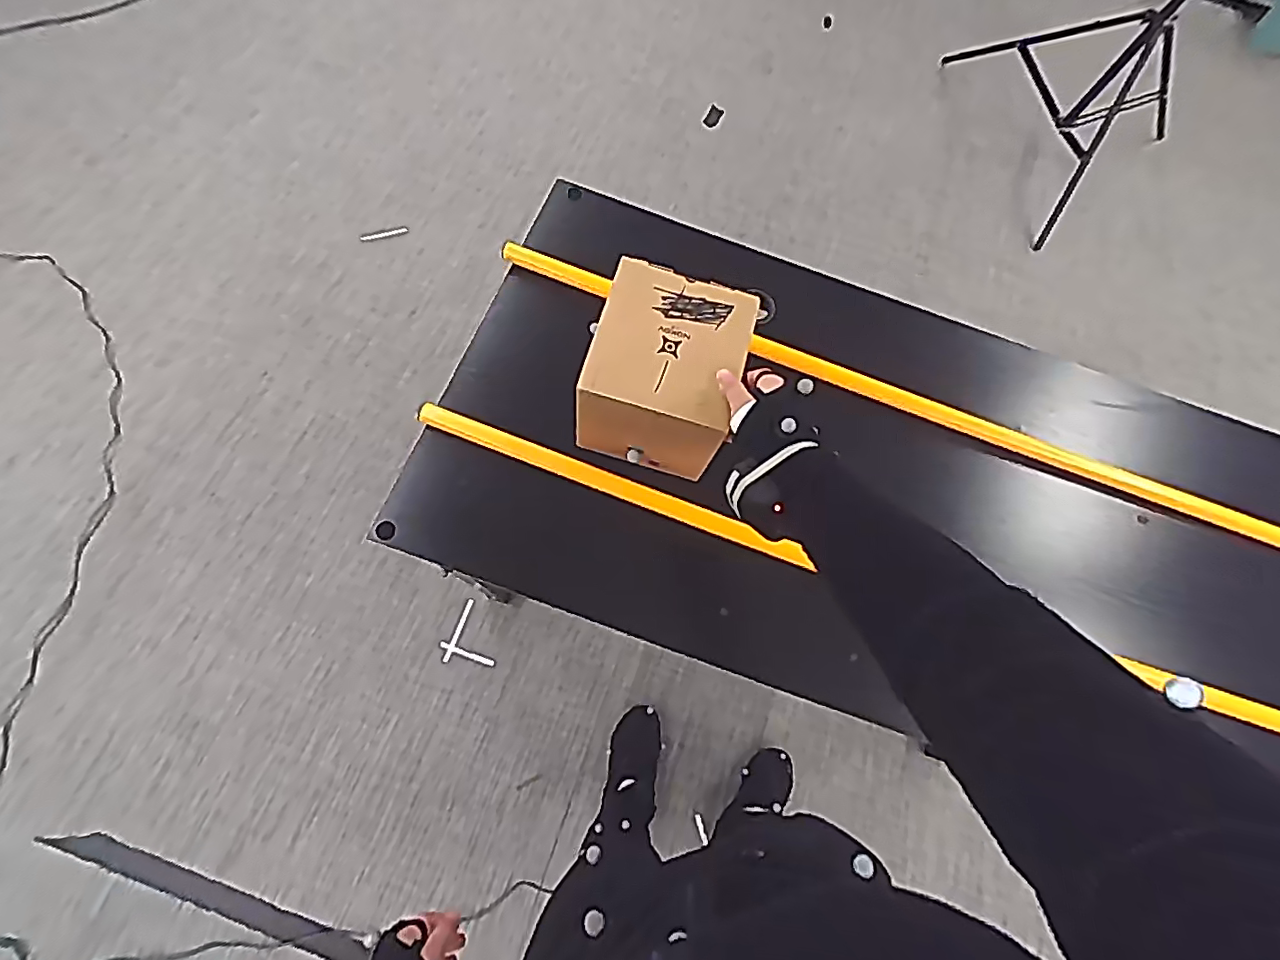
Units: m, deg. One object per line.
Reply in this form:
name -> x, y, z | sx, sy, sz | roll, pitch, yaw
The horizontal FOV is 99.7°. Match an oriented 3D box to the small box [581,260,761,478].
small box -> 0.029, -0.124, 0.660 | 0.168, 0.176, 0.179 | 17, 72, 0
